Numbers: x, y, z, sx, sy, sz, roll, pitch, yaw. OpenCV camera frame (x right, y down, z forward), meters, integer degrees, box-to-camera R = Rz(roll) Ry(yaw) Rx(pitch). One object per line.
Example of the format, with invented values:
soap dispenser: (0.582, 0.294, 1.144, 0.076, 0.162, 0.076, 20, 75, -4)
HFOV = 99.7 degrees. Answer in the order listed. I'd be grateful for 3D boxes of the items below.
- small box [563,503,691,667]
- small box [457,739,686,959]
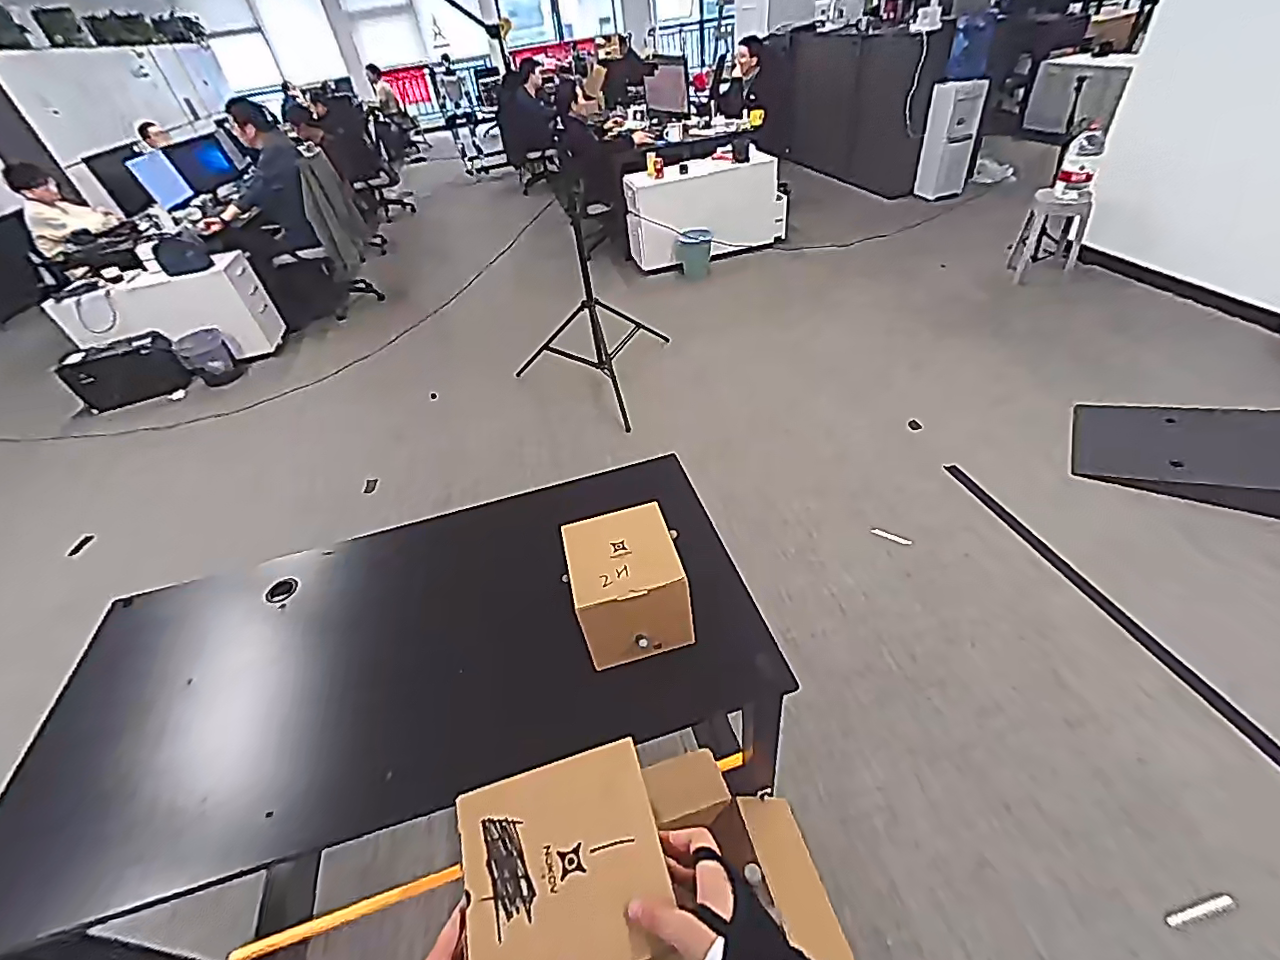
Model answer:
small box: (-0.021, 0.169, 0.879, 0.168, 0.176, 0.179, -15, 41, -5)
small box: (-0.062, 0.386, 0.524, 0.179, 0.176, 0.168, -15, 47, -8)
